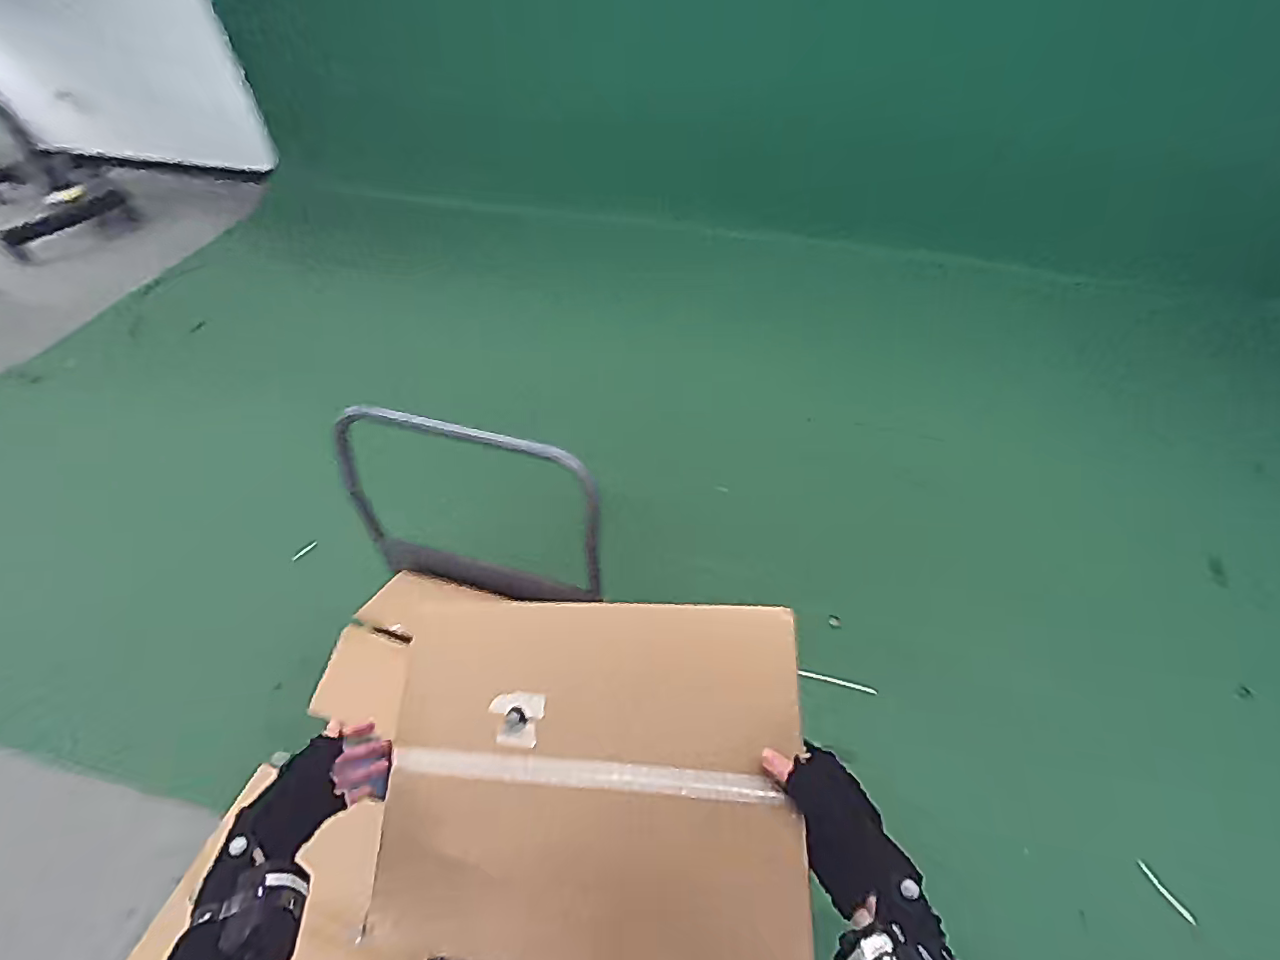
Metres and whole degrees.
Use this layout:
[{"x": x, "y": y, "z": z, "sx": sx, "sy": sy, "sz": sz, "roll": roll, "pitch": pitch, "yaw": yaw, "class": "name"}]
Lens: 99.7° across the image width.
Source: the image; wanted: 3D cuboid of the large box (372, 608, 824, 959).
[{"x": -0.014, "y": 0.326, "z": 0.631, "sx": 0.408, "sy": 0.320, "sz": 0.320, "roll": -3, "pitch": 69, "yaw": 15, "class": "large box"}]
